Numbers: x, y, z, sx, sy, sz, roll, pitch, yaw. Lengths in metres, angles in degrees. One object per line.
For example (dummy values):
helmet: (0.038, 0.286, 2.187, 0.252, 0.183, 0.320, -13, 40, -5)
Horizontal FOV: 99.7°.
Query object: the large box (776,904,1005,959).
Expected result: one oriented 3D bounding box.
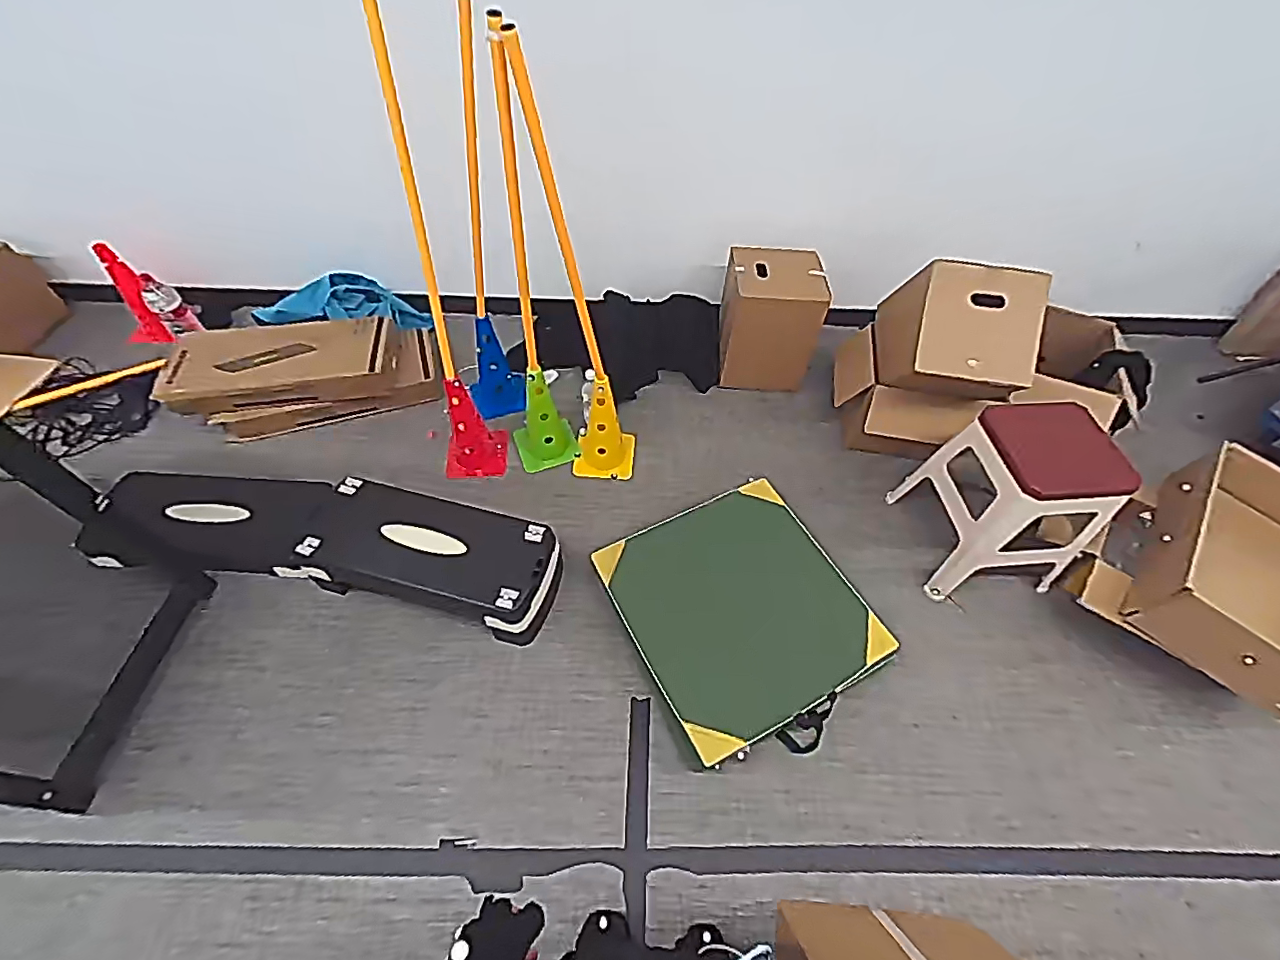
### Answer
large box: (0.354, 0.777, 0.620, 0.320, 0.408, 0.320, 5, 75, 0)
